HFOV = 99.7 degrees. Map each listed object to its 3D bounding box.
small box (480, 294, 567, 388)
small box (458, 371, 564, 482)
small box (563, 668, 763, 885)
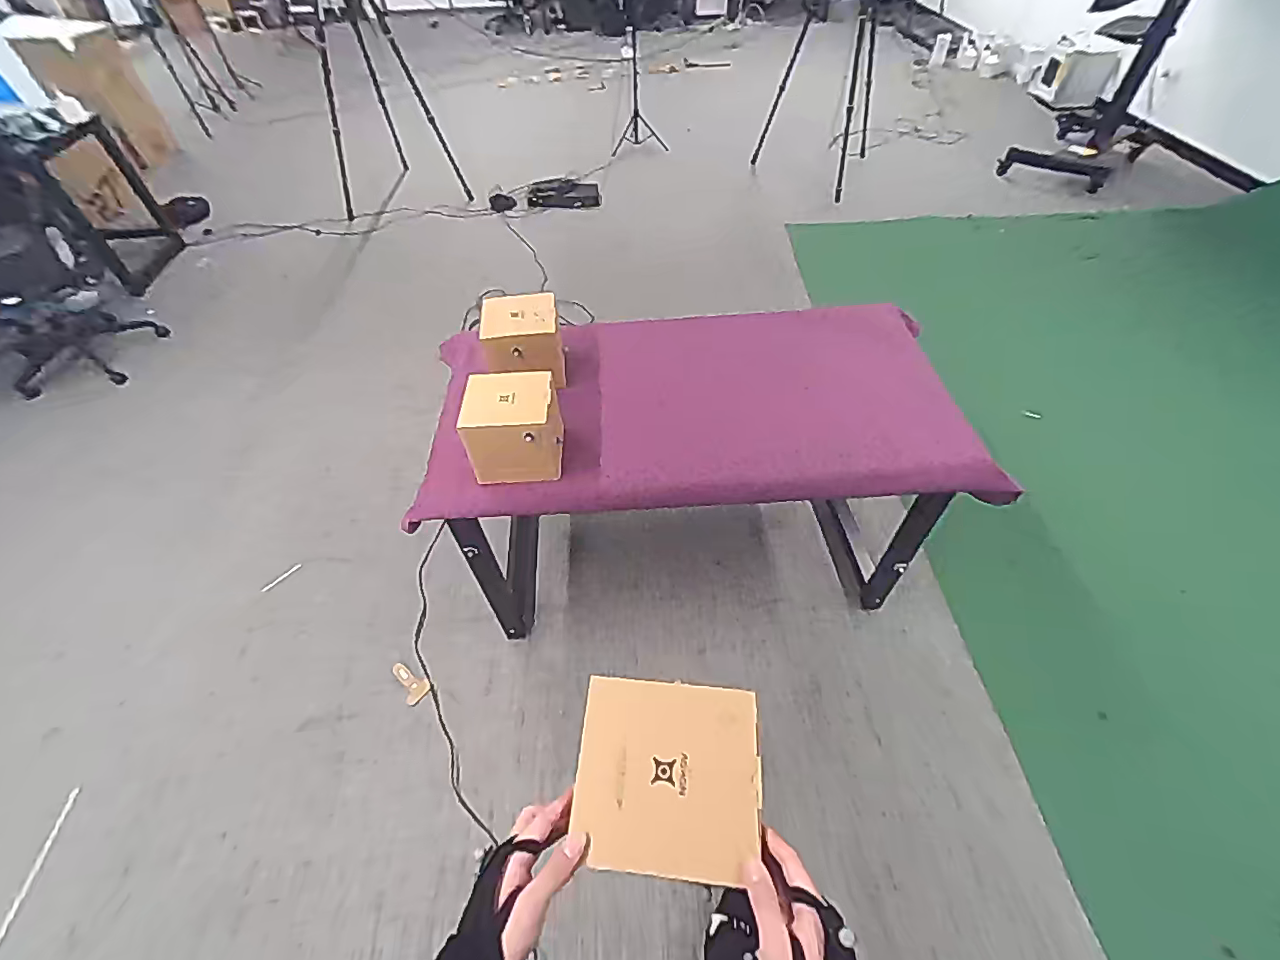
[{"bbox_3d":[-0.278,-0.331,1.323,0.179,0.176,0.168,-6,51,-3],"label":"small box"},{"bbox_3d":[-0.261,-0.109,1.137,0.179,0.176,0.168,-3,49,-1],"label":"small box"},{"bbox_3d":[0.030,0.316,0.577,0.179,0.176,0.168,4,55,6],"label":"small box"}]
